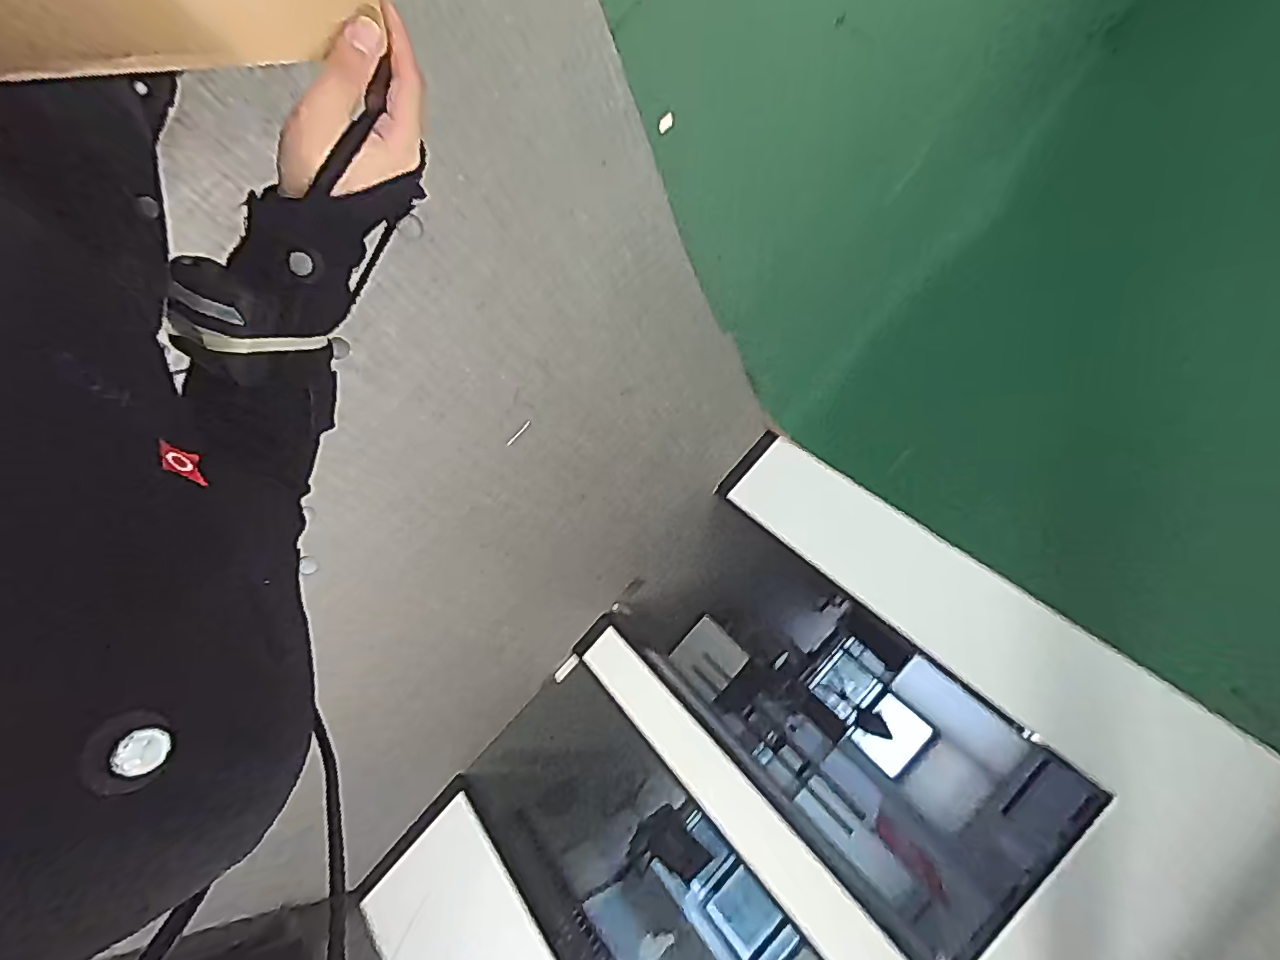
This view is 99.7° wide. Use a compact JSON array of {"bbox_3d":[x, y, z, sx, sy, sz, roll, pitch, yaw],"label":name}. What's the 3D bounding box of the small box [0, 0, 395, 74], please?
[{"bbox_3d":[-0.239,-0.308,0.234,0.179,0.176,0.168,-23,147,-20],"label":"small box"}]
